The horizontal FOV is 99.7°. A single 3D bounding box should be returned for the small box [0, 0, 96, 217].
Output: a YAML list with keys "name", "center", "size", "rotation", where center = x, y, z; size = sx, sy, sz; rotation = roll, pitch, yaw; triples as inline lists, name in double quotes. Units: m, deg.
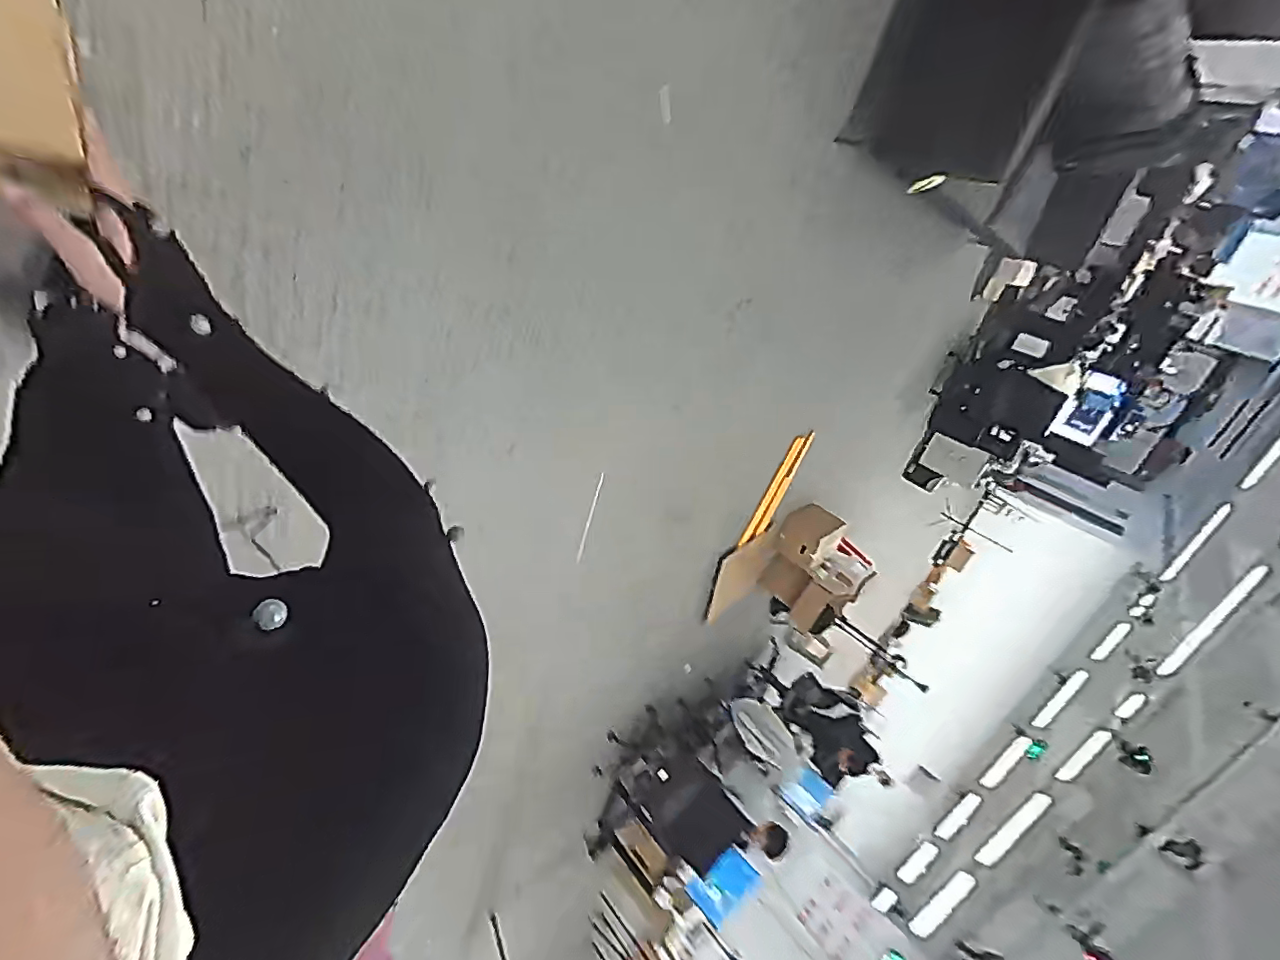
- name: "small box"
  center: [-0.538, -0.315, 0.402]
  size: [0.179, 0.176, 0.168]
  rotation: [-8, 100, -44]
